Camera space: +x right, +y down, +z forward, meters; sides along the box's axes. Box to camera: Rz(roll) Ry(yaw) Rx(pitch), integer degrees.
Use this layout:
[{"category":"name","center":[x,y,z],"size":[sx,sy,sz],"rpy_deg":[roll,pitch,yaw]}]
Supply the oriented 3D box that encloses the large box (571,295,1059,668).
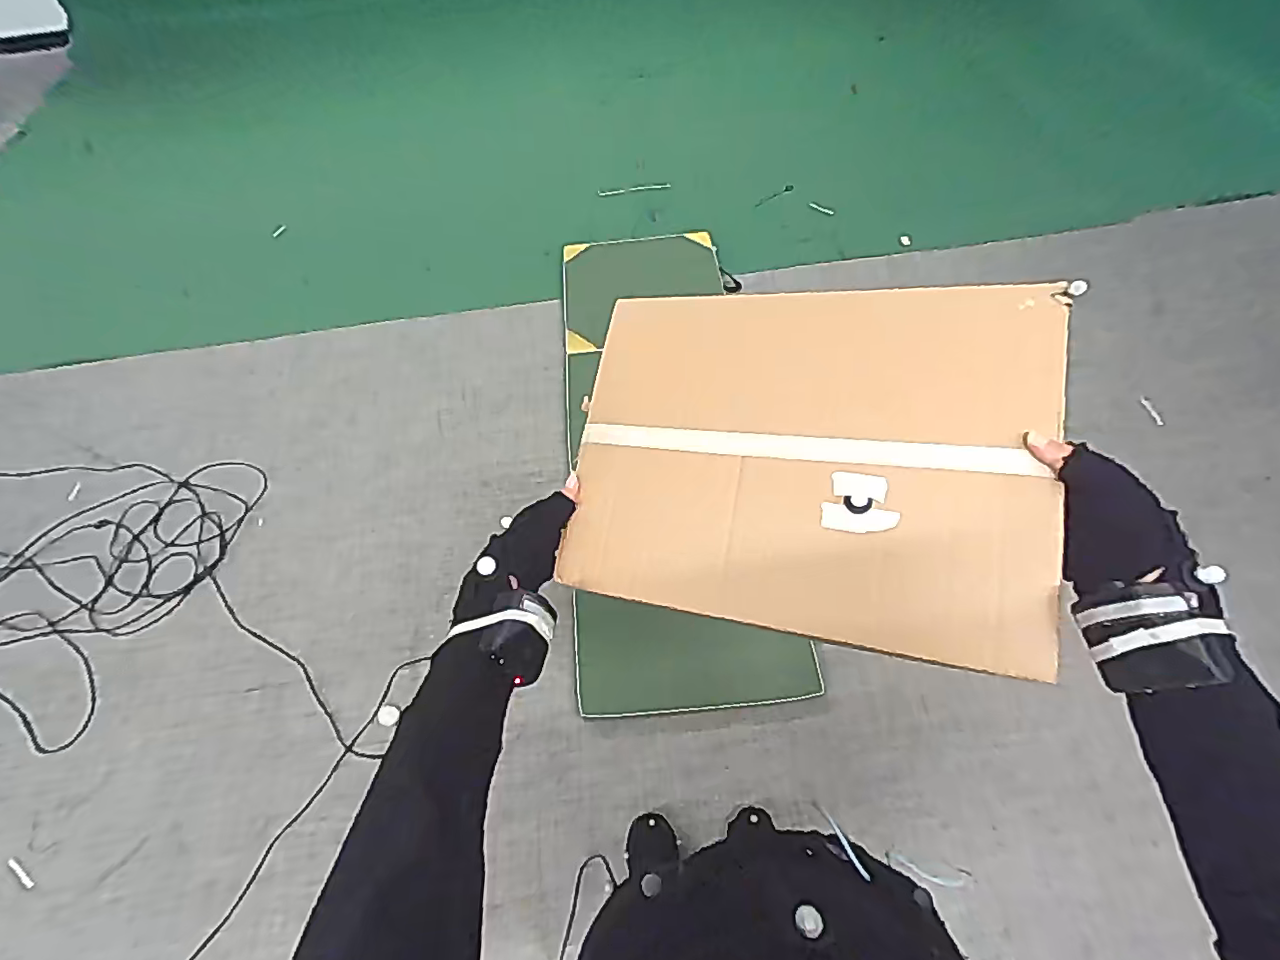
[{"category":"large box","center":[0.189,0.017,0.625],"size":[0.408,0.320,0.320],"rpy_deg":[6,76,22]}]
